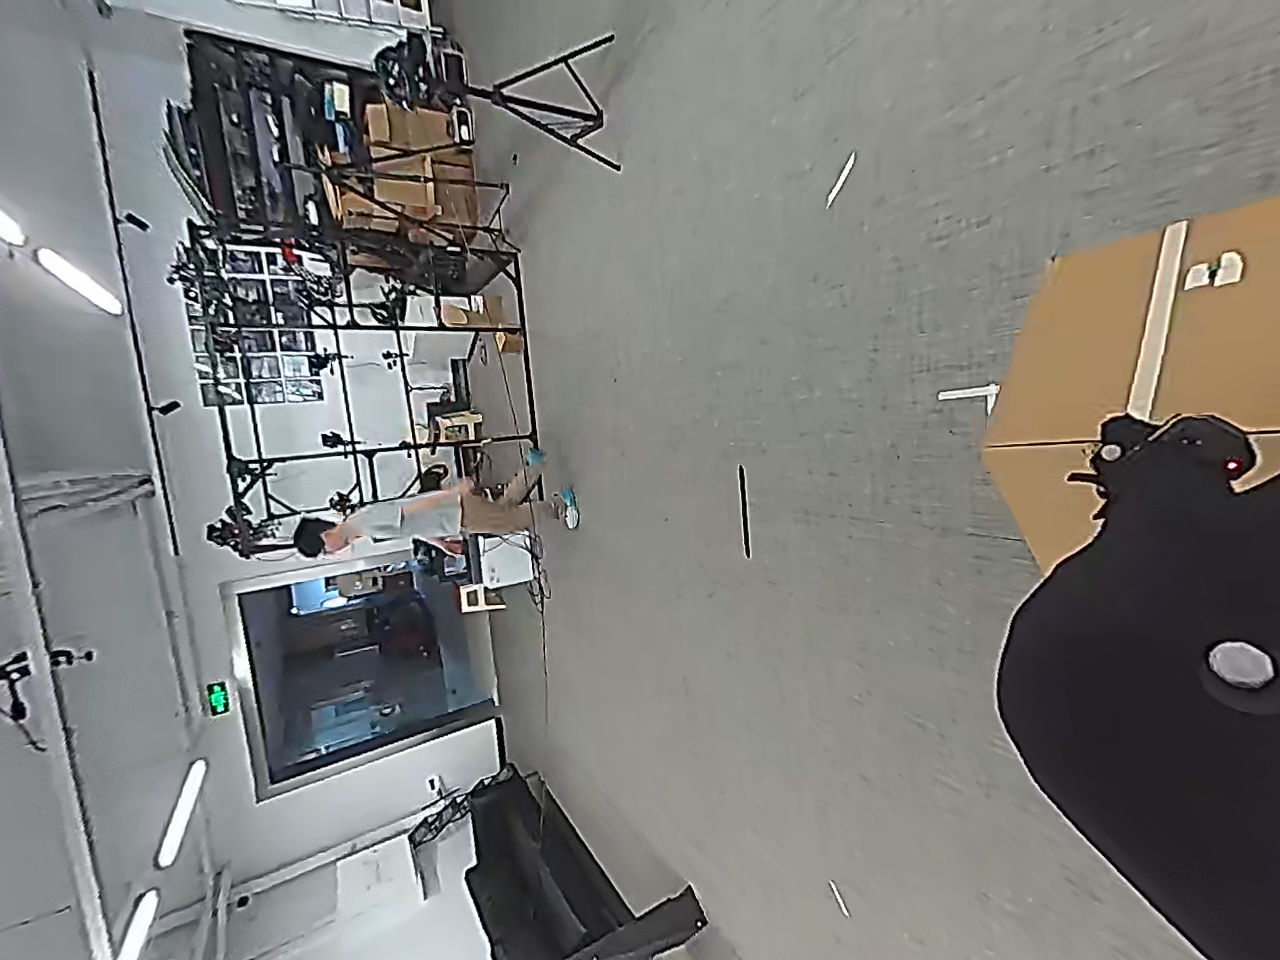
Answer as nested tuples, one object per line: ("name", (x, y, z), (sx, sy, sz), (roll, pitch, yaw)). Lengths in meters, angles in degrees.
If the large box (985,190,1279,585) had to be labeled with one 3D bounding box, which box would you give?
("large box", (0.745, -0.112, 0.746), (0.320, 0.408, 0.320), (46, 156, -27))
